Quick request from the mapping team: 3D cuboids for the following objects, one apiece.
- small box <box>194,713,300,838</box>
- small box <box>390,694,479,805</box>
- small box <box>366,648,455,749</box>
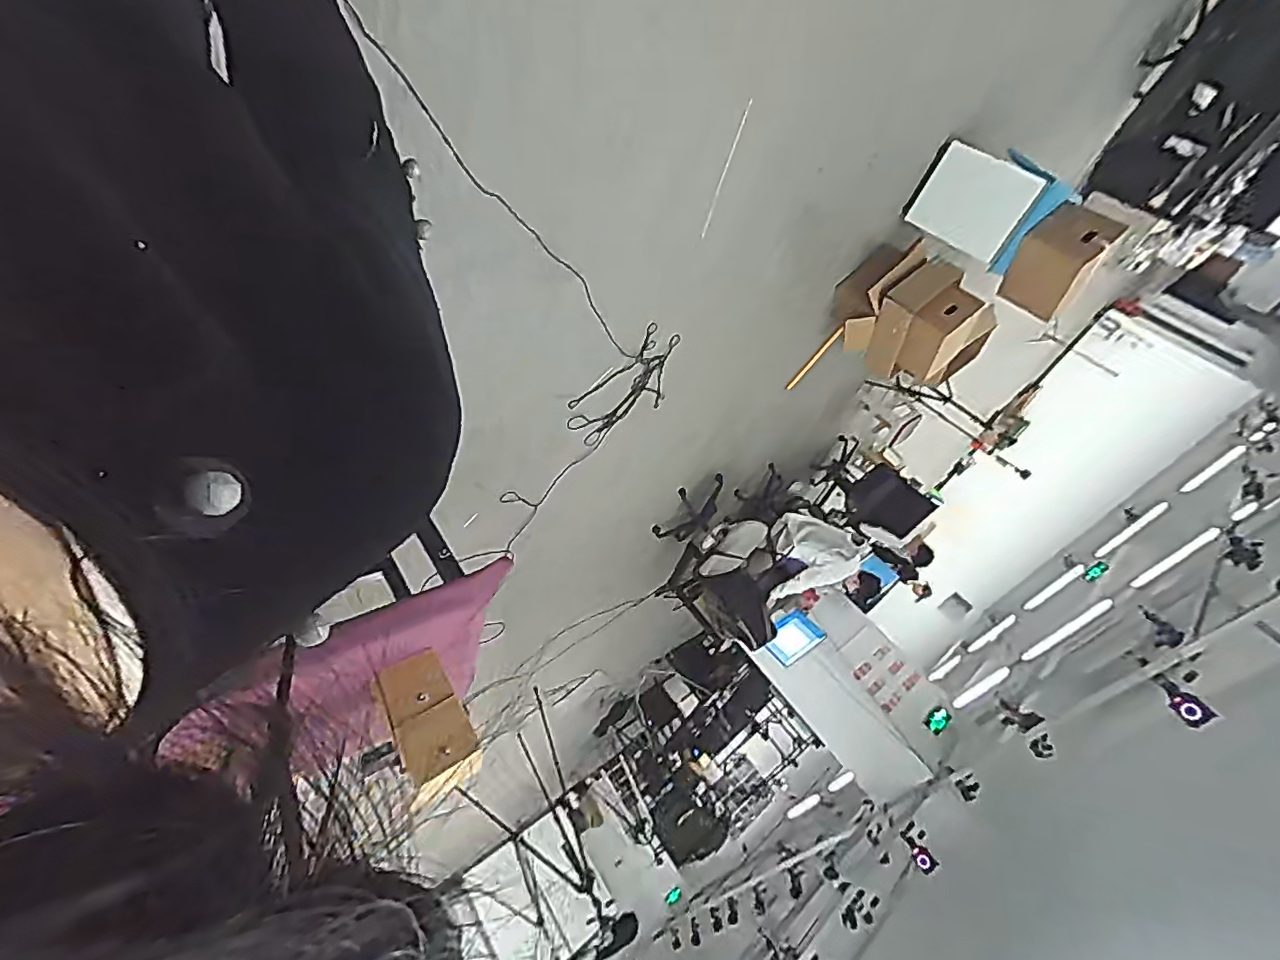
[{"bbox_3d":[-0.913,0.682,1.262,0.168,0.176,0.179,-16,144,-41],"label":"small box"},{"bbox_3d":[-0.545,0.708,1.430,0.179,0.176,0.168,-23,146,-34],"label":"small box"},{"bbox_3d":[-0.639,0.603,1.510,0.179,0.176,0.168,-20,145,-35],"label":"small box"}]
